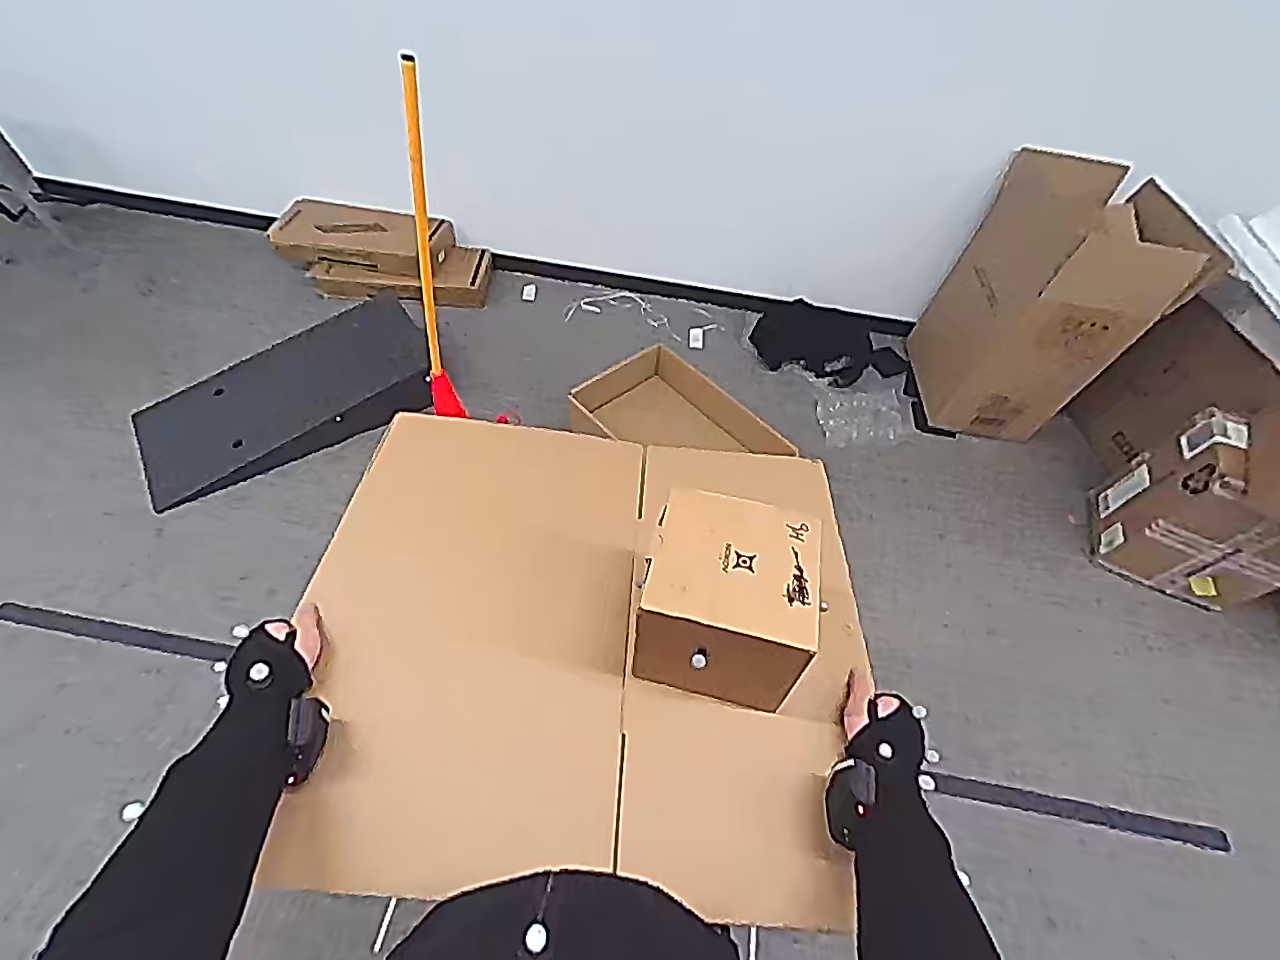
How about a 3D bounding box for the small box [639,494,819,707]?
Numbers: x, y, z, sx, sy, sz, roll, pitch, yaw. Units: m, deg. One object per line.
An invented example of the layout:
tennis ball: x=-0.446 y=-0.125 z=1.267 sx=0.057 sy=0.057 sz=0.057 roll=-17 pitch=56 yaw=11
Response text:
small box: x=0.100 y=0.144 z=0.634 sx=0.179 sy=0.176 sz=0.168 roll=11 pitch=49 yaw=8
